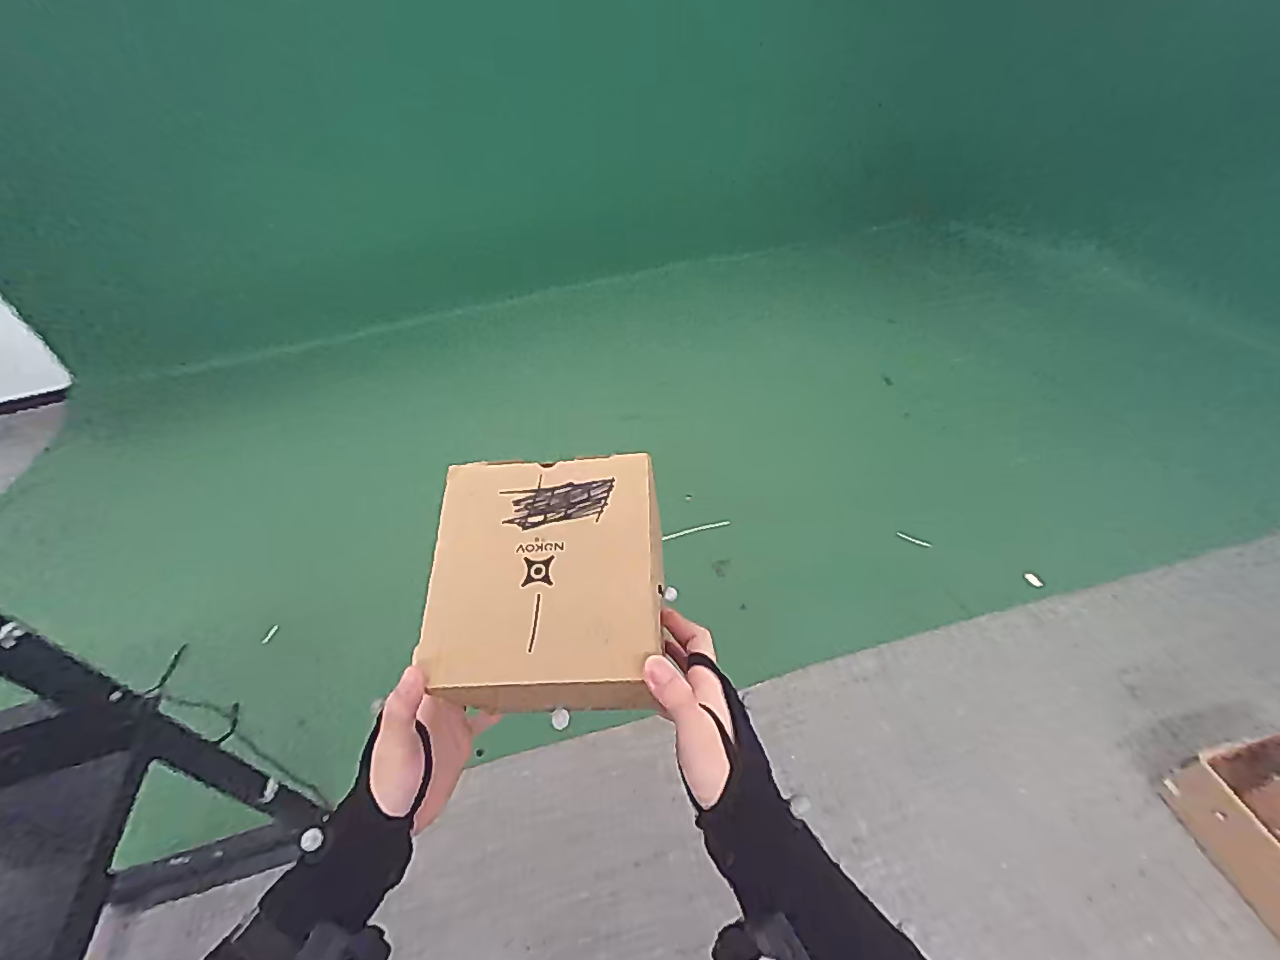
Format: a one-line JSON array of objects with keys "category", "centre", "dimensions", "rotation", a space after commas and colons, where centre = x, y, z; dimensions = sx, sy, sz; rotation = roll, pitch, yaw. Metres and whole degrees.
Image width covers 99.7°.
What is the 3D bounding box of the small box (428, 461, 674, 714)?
[{"category": "small box", "centre": [-0.057, 0.101, 0.472], "dimensions": [0.168, 0.176, 0.179], "rotation": [-3, 62, 5]}]
